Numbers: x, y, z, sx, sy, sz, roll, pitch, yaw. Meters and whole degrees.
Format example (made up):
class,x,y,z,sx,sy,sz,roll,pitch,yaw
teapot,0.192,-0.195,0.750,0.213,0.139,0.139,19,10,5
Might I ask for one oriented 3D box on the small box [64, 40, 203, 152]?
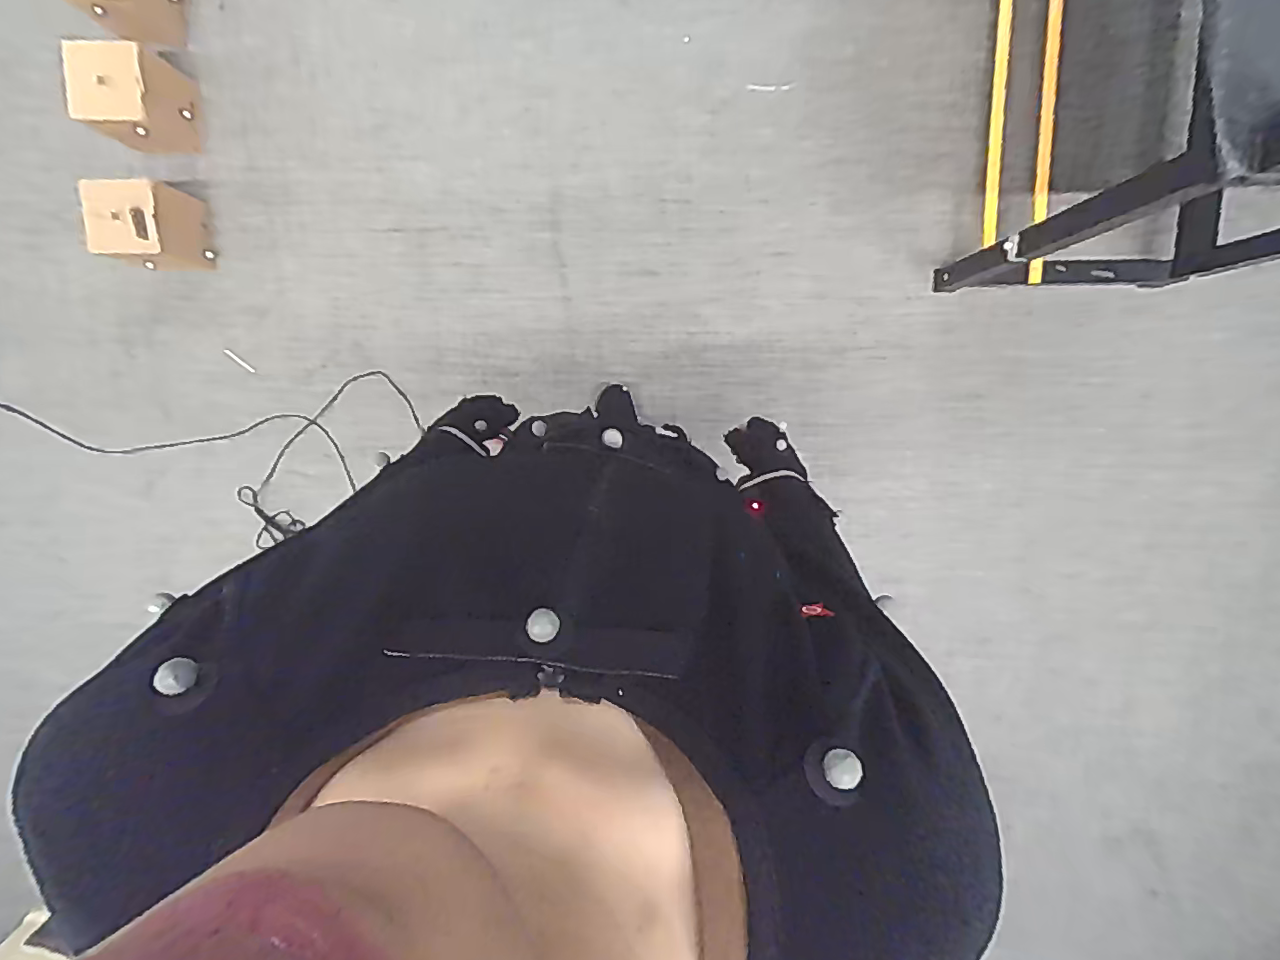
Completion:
class,x,y,z,sx,sy,sz,roll,pitch,yaw
small box,-1.206,-0.912,1.298,0.179,0.176,0.168,1,98,0

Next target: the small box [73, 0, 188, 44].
class,x,y,z,sx,sy,sz,roll,pitch,yaw
small box,-1.211,-1.167,1.263,0.179,0.176,0.168,9,98,-1

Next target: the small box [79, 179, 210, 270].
class,x,y,z,sx,sy,sz,roll,pitch,yaw
small box,-1.206,-0.624,1.334,0.179,0.176,0.168,0,97,2
